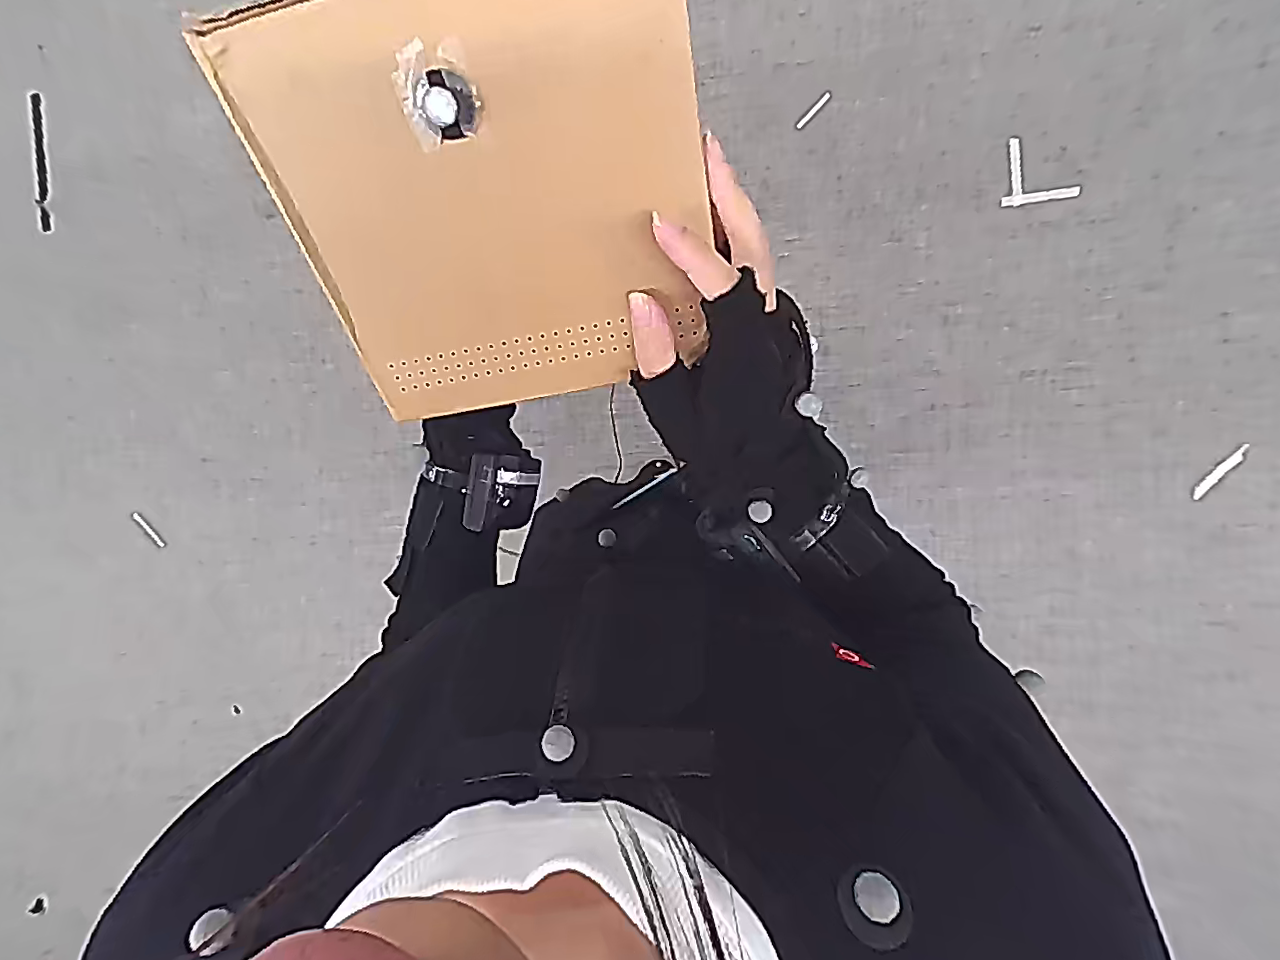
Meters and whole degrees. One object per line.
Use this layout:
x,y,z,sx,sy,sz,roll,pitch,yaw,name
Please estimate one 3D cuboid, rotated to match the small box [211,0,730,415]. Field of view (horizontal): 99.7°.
-0.054,-0.151,0.293,0.179,0.168,0.176,-9,127,7,small box
